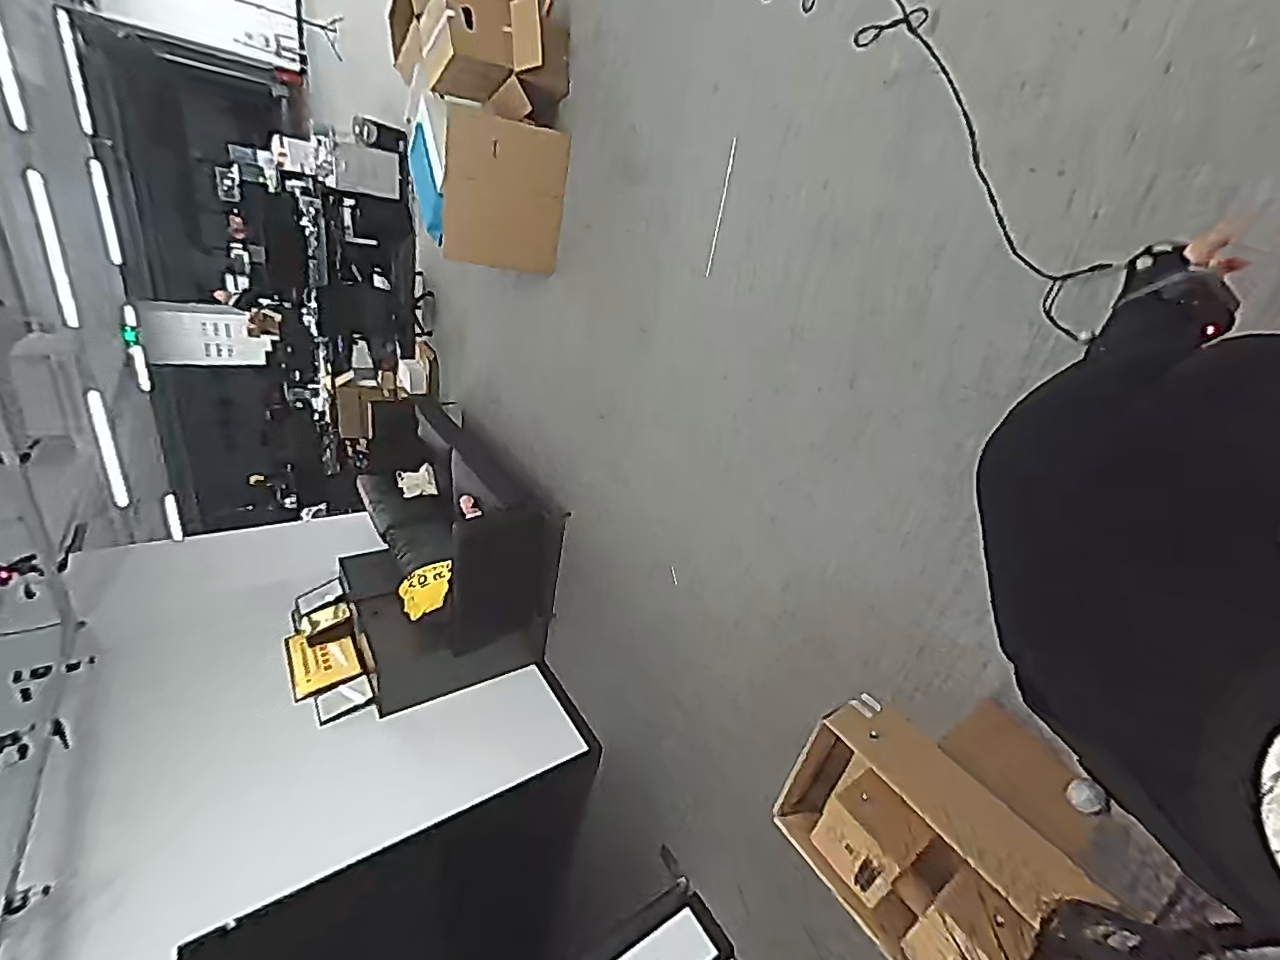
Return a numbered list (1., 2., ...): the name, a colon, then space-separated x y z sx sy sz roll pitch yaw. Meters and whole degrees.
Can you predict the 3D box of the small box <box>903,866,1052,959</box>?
1. small box: 0.668 0.918 1.068 0.168 0.176 0.179 41 128 43
